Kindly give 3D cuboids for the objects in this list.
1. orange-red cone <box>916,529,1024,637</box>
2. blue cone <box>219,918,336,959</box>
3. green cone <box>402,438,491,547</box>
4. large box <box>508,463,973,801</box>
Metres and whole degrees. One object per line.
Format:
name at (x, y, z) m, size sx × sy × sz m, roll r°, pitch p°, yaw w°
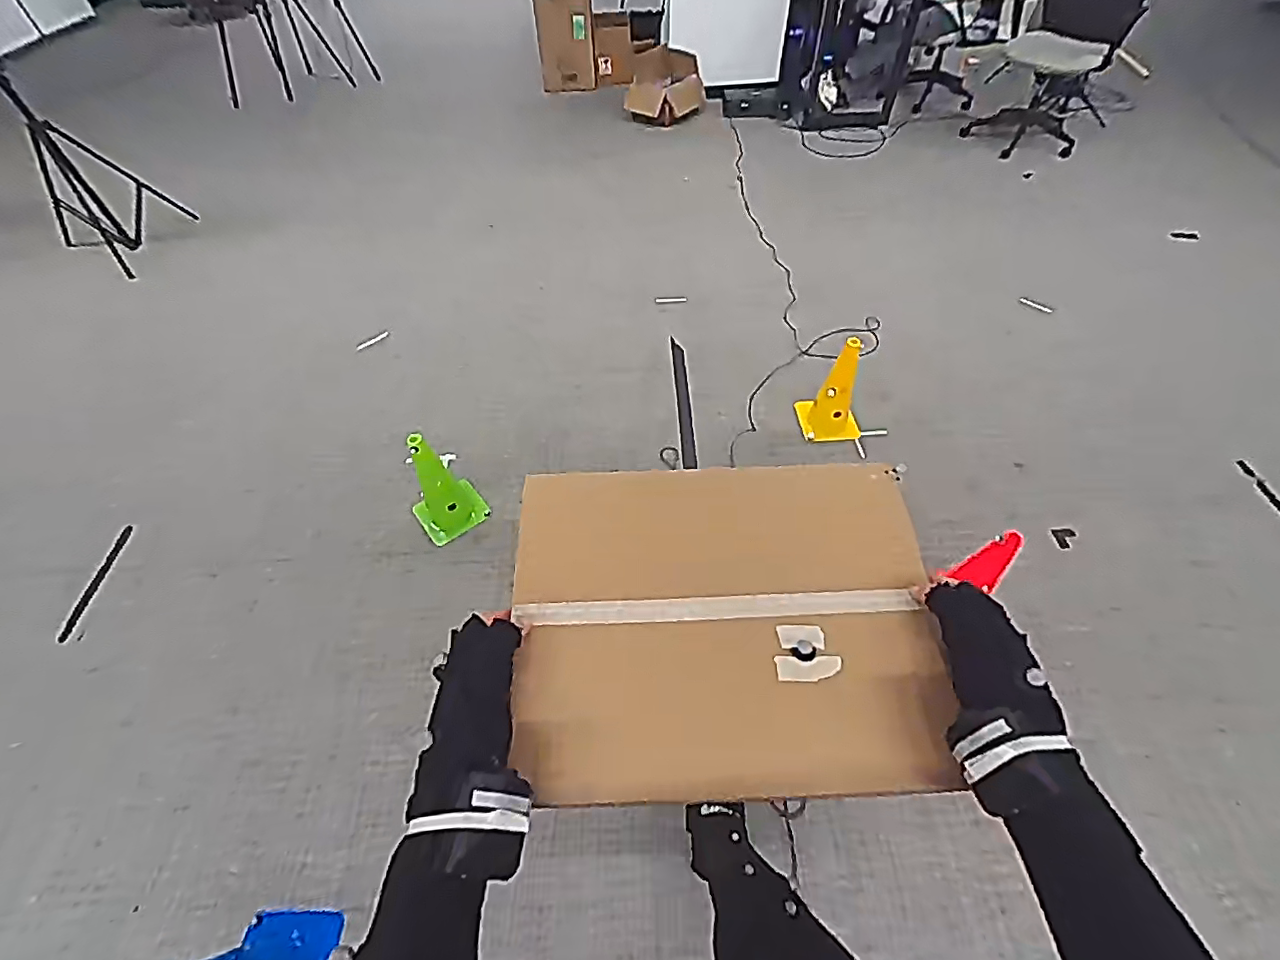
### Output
orange-red cone at (0.876, 0.238, 1.393) m, size 0.198 × 0.360 × 0.199 m, roll -4°, pitch 50°, yaw -2°
blue cone at (-0.728, 0.901, 0.956) m, size 0.192 × 0.380 × 0.193 m, roll -1°, pitch 52°, yaw 3°
green cone at (-0.624, 0.003, 1.636) m, size 0.202 × 0.368 × 0.200 m, roll -35°, pitch 58°, yaw -21°
large box at (0.079, 0.198, 0.655) m, size 0.408 × 0.320 × 0.320 m, roll -2°, pitch 60°, yaw -1°
